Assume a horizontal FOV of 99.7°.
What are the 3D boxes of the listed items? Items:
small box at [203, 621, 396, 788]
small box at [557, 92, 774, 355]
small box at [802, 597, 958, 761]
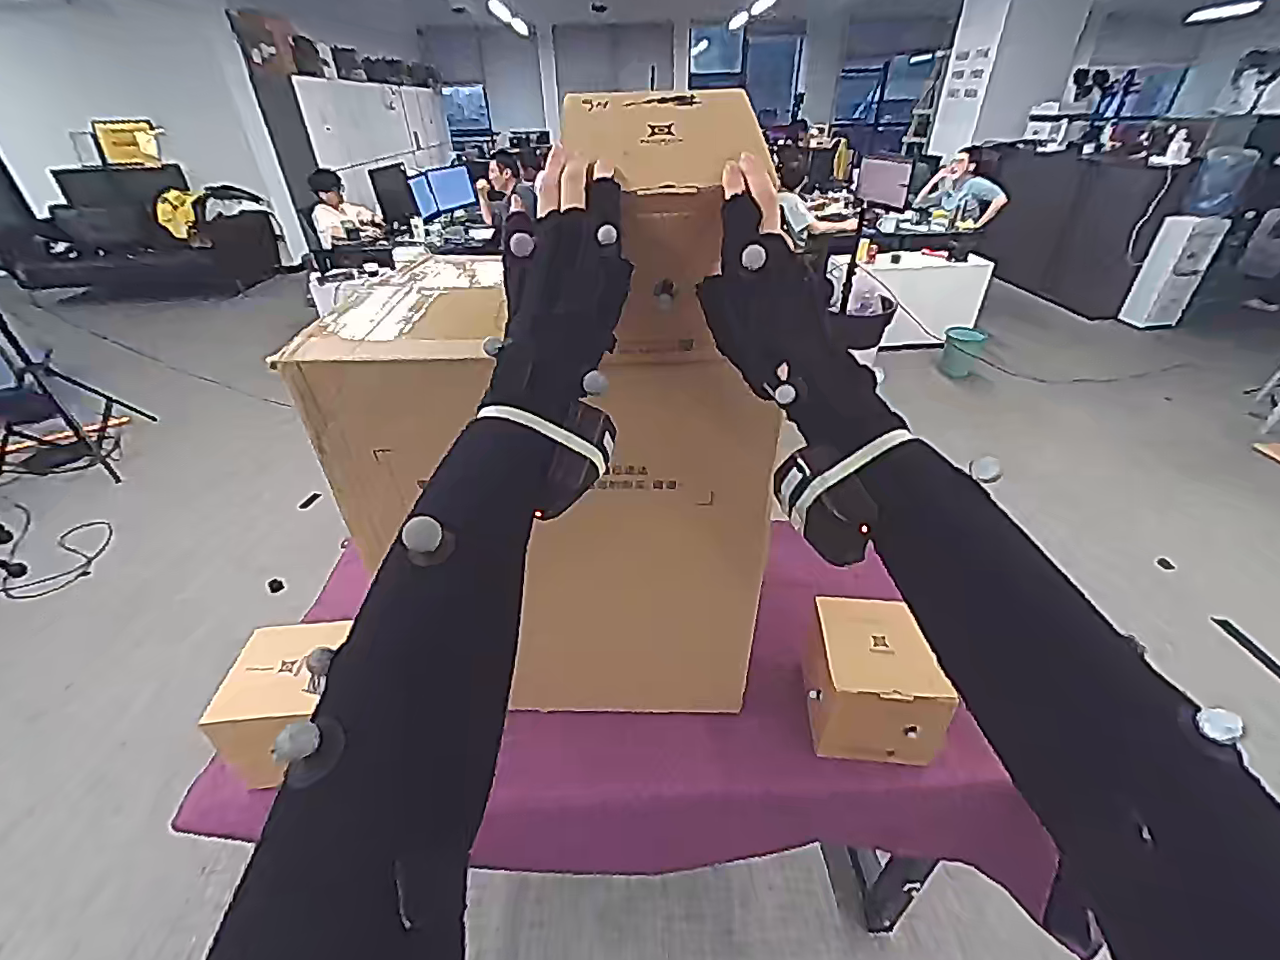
[{"bbox_3d":[-0.492,0.338,0.821,0.179,0.176,0.168,-4,33,-5],"label":"small box"},{"bbox_3d":[0.020,-0.233,0.511,0.168,0.176,0.179,-2,54,0],"label":"small box"},{"bbox_3d":[0.357,0.308,0.841,0.168,0.176,0.179,3,33,5],"label":"small box"}]
